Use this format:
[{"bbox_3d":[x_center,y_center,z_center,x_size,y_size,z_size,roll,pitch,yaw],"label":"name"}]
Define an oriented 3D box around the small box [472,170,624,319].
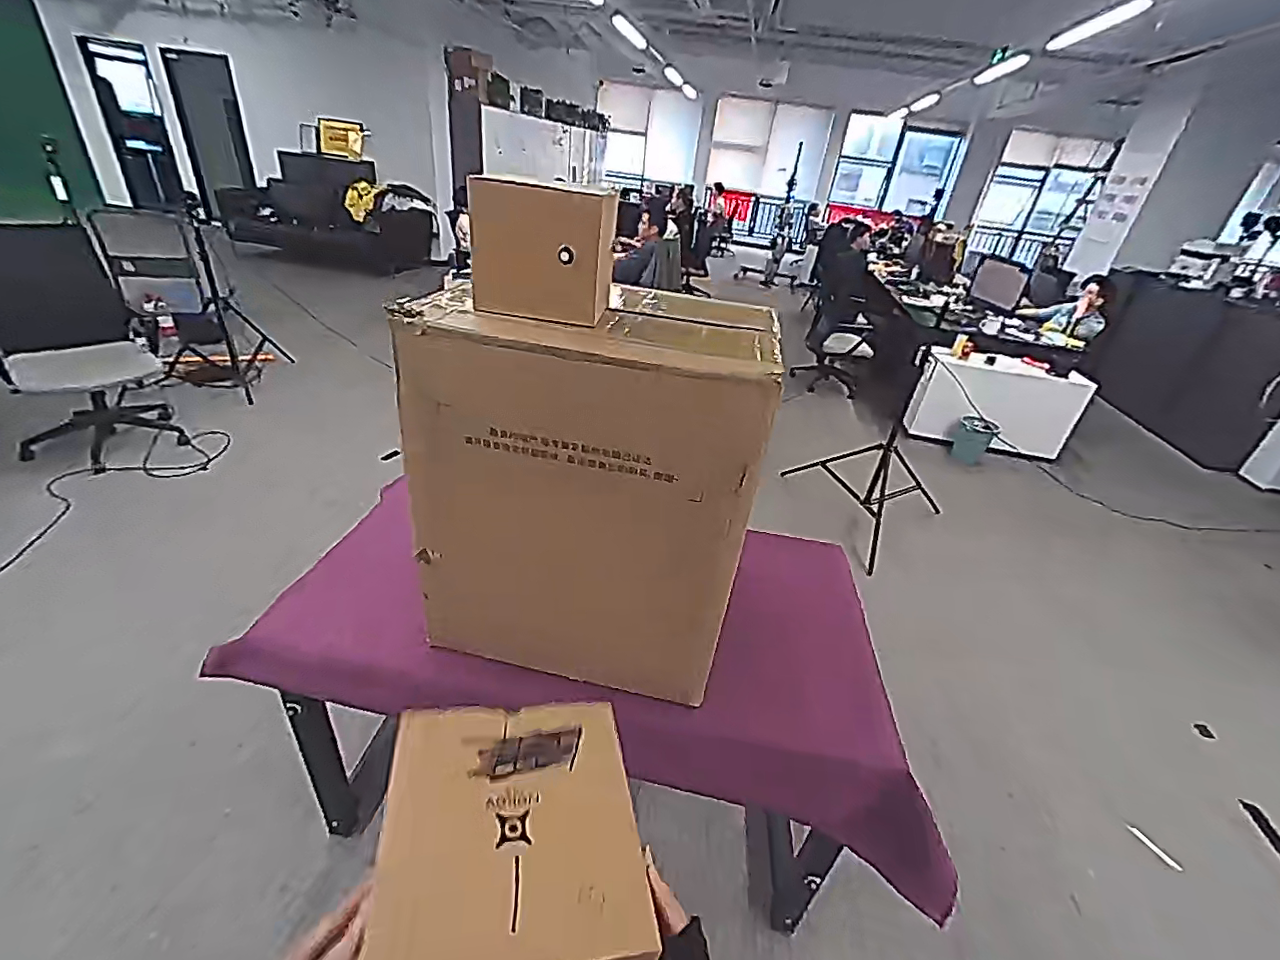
[{"bbox_3d":[-0.125,-0.337,0.777,0.179,0.176,0.168,8,30,1],"label":"small box"}]
